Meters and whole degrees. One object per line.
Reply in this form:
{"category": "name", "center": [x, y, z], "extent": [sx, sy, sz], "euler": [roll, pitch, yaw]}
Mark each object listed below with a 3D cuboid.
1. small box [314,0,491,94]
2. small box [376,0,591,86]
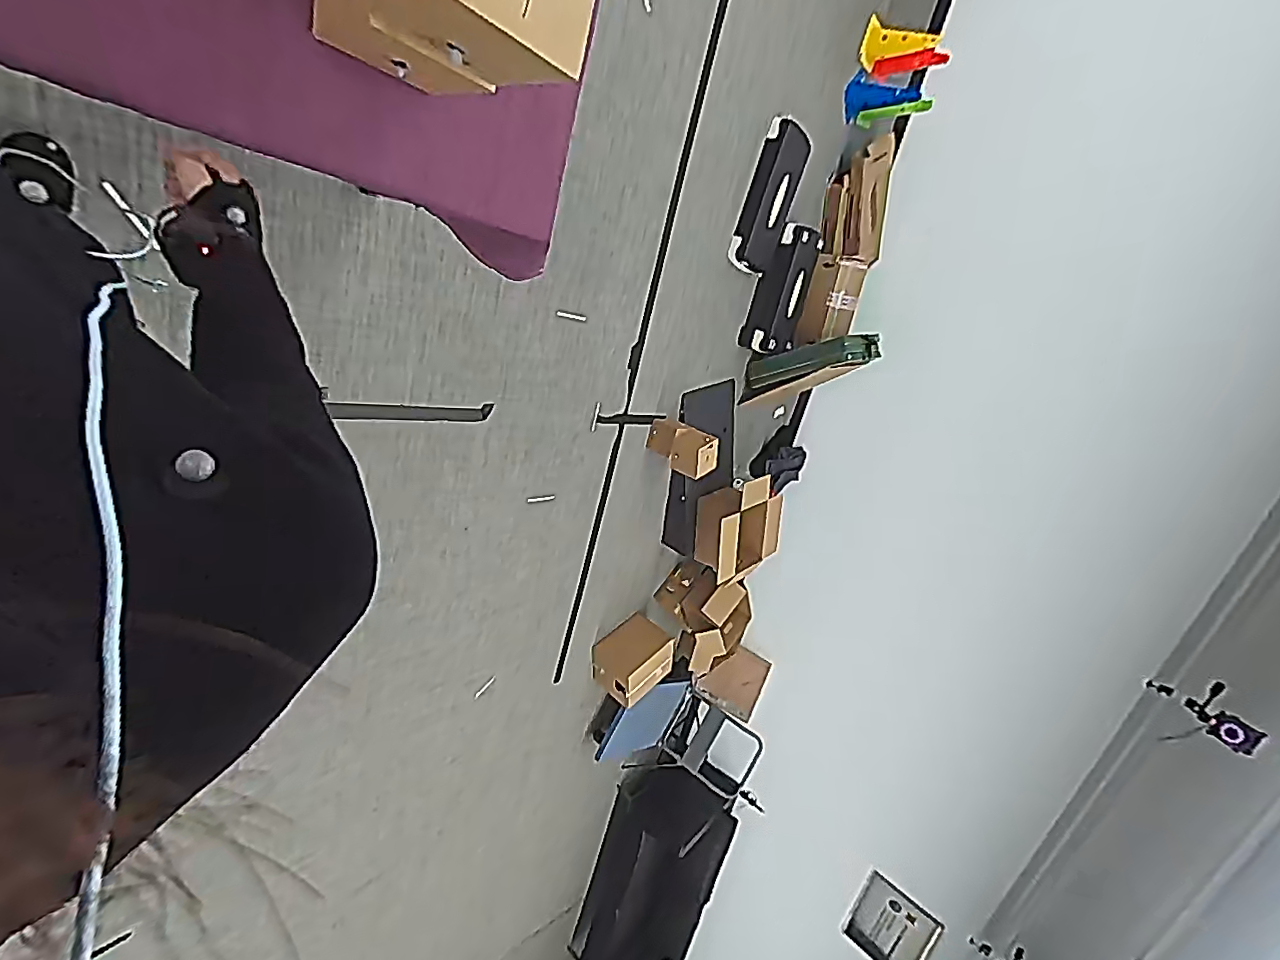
{"category": "small box", "center": [-0.288, -0.620, 0.680], "extent": [0.168, 0.176, 0.179], "euler": [-7, 119, -50]}
{"category": "small box", "center": [-0.165, -0.564, 0.586], "extent": [0.168, 0.176, 0.179], "euler": [-6, 118, -50]}
